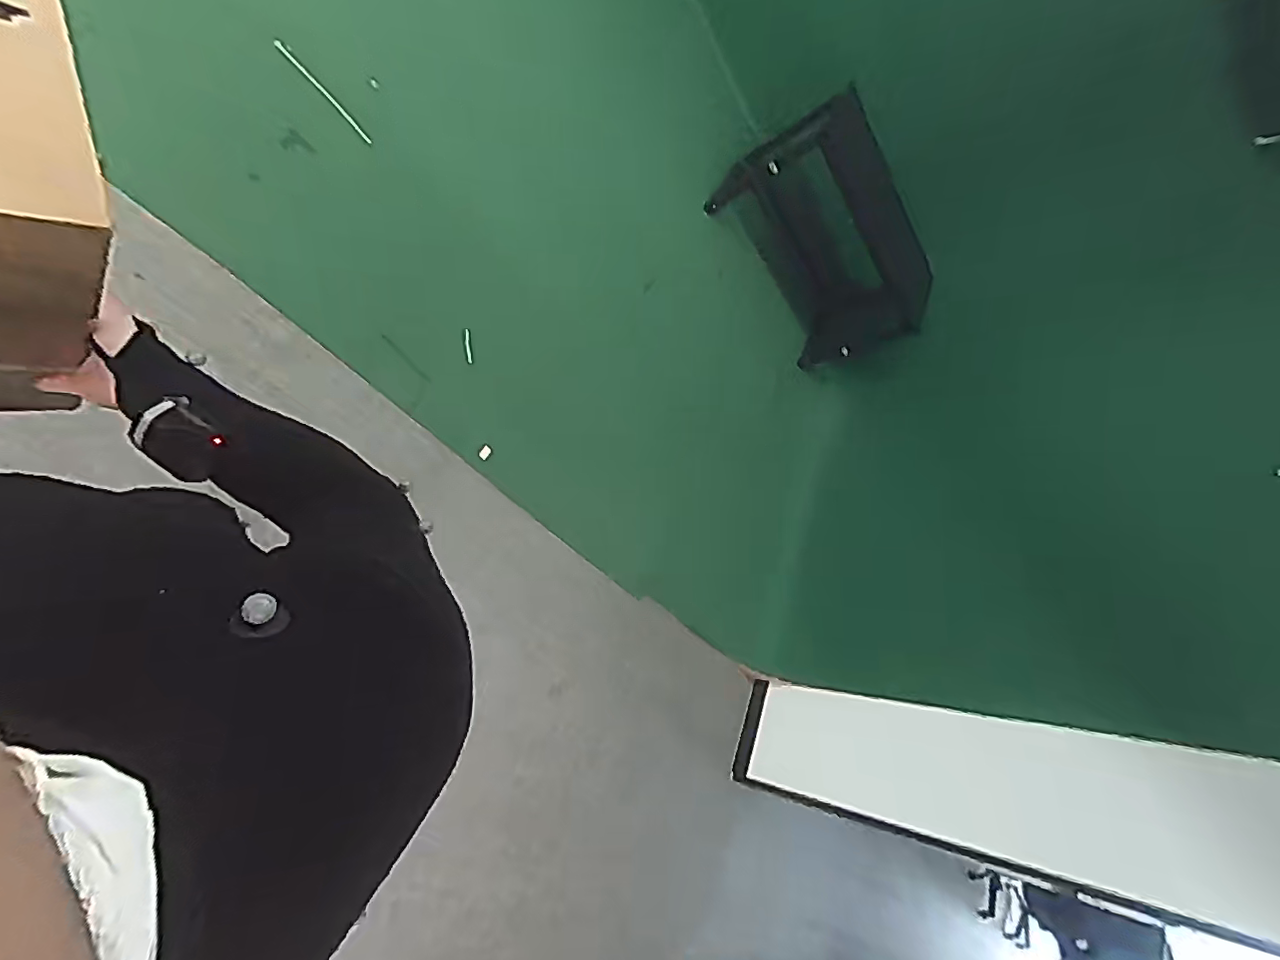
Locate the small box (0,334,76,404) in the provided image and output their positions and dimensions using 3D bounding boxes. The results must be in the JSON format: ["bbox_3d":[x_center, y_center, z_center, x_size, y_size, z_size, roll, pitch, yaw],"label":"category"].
[{"bbox_3d":[-0.695,-0.180,0.536,0.168,0.176,0.179,-11,91,-47],"label":"small box"}]

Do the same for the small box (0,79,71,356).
[{"bbox_3d":[-0.575,-0.205,0.423,0.168,0.176,0.179,-10,89,-48],"label":"small box"}]
